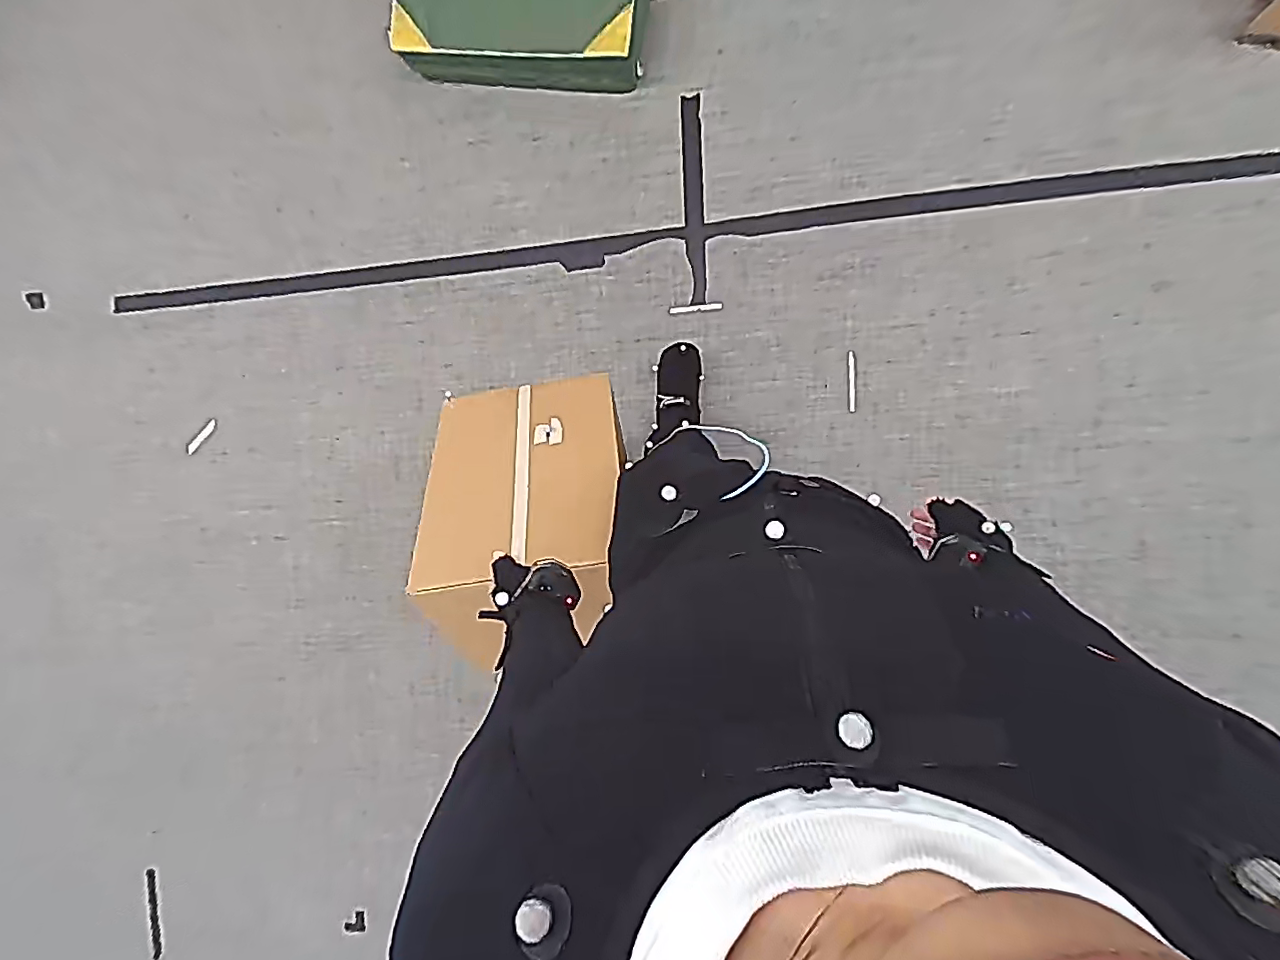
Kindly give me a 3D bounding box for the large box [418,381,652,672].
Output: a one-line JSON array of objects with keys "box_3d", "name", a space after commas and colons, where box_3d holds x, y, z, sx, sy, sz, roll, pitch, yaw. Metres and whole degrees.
[{"box_3d": [-0.167, 0.083, 0.990, 0.320, 0.320, 0.408, -8, 49, 0], "name": "large box"}]
